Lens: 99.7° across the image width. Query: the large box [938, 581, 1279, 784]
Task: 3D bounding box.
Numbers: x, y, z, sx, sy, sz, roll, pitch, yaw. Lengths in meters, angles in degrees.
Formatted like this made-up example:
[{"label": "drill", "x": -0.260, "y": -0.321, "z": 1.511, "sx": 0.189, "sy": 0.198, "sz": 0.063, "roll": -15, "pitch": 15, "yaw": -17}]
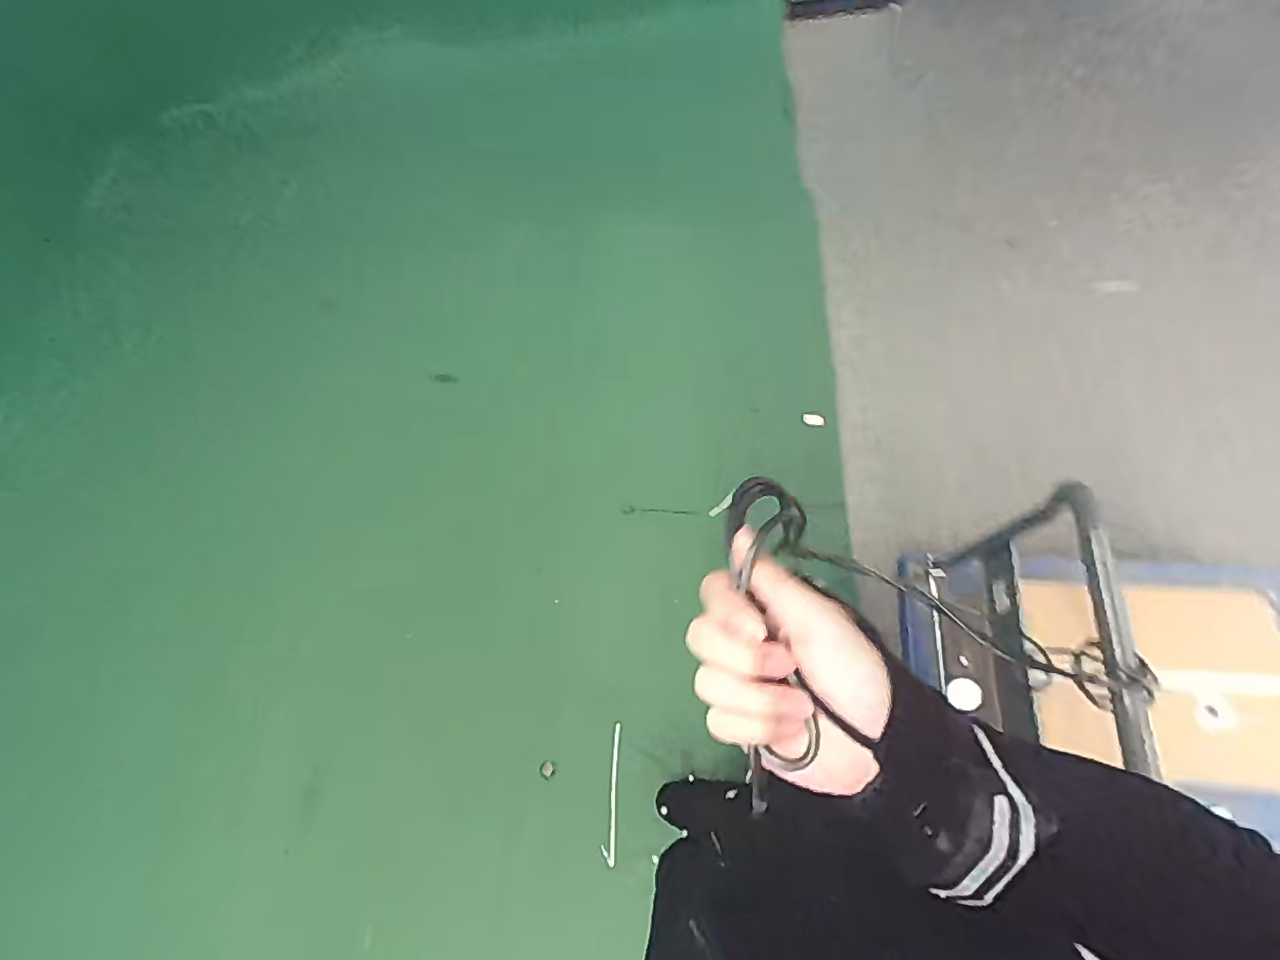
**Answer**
[{"label": "large box", "x": 0.871, "y": 0.385, "z": 1.058, "sx": 0.408, "sy": 0.320, "sz": 0.320, "roll": 1, "pitch": 71, "yaw": 6}]
